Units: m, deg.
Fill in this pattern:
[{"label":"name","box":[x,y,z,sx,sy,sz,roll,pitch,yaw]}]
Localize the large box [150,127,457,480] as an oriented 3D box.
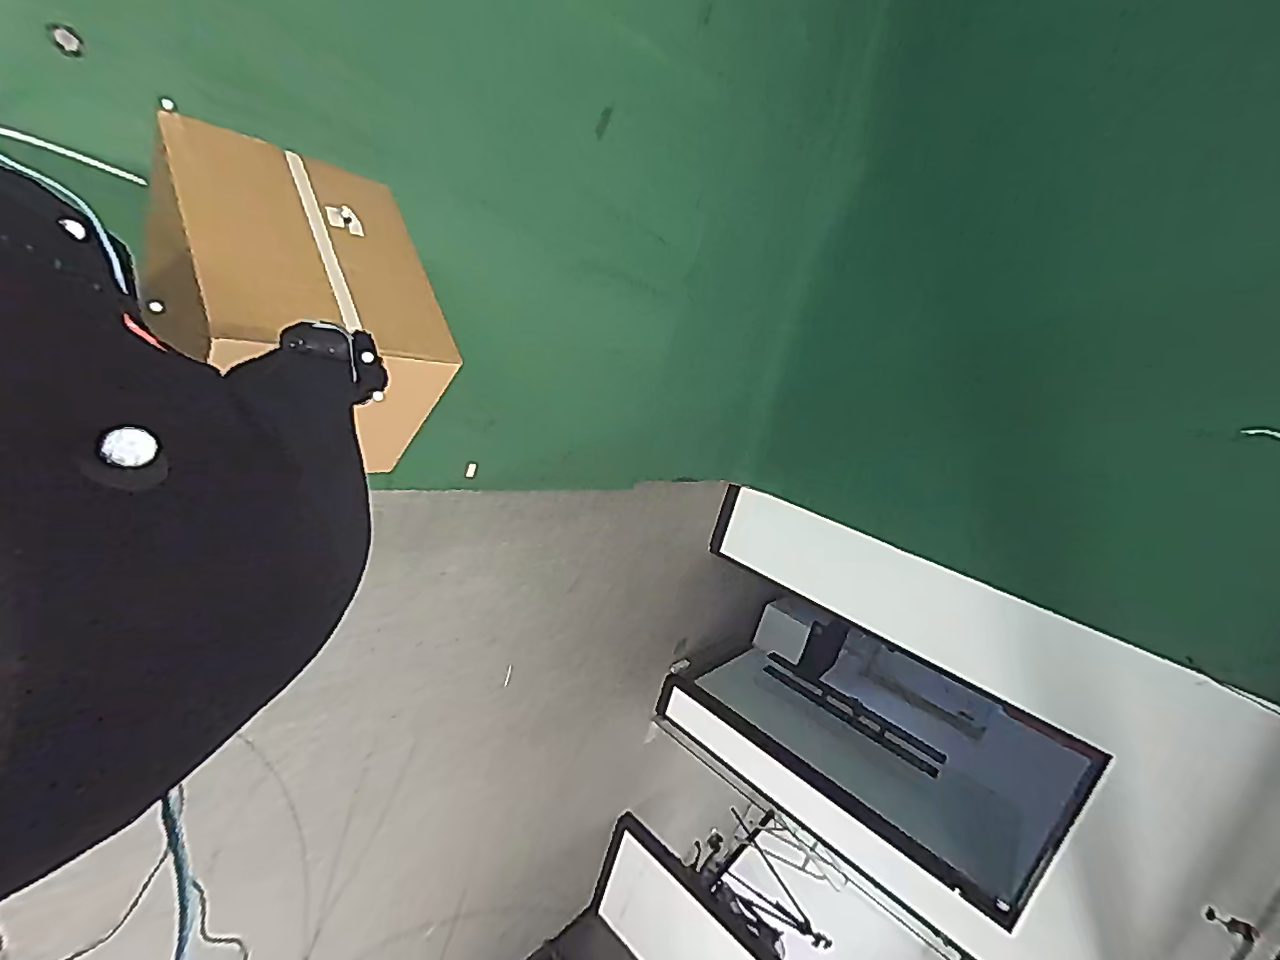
[{"label":"large box","box":[-0.562,-0.254,0.886,0.320,0.408,0.320,-5,152,-49]}]
